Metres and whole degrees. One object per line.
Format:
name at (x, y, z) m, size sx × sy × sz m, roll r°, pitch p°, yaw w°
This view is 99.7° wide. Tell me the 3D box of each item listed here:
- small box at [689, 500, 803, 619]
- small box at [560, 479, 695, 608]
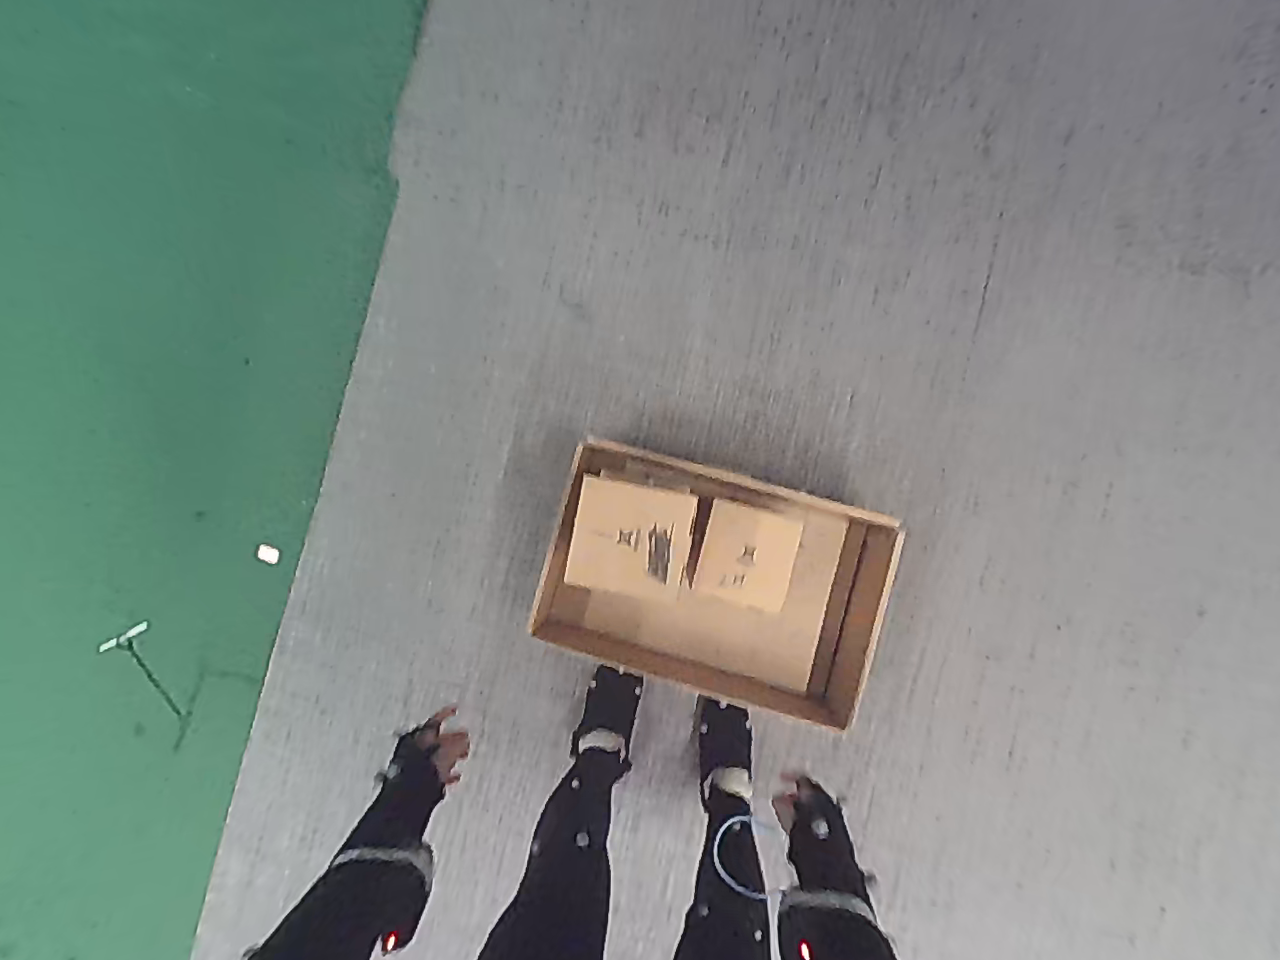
small box at (0.192, 0.143, 1.032) m, size 0.168 × 0.176 × 0.179 m, roll 16°, pitch 89°, yaw 6°
small box at (-0.014, 0.095, 0.883) m, size 0.179 × 0.176 × 0.168 m, roll 11°, pitch 88°, yaw 4°
